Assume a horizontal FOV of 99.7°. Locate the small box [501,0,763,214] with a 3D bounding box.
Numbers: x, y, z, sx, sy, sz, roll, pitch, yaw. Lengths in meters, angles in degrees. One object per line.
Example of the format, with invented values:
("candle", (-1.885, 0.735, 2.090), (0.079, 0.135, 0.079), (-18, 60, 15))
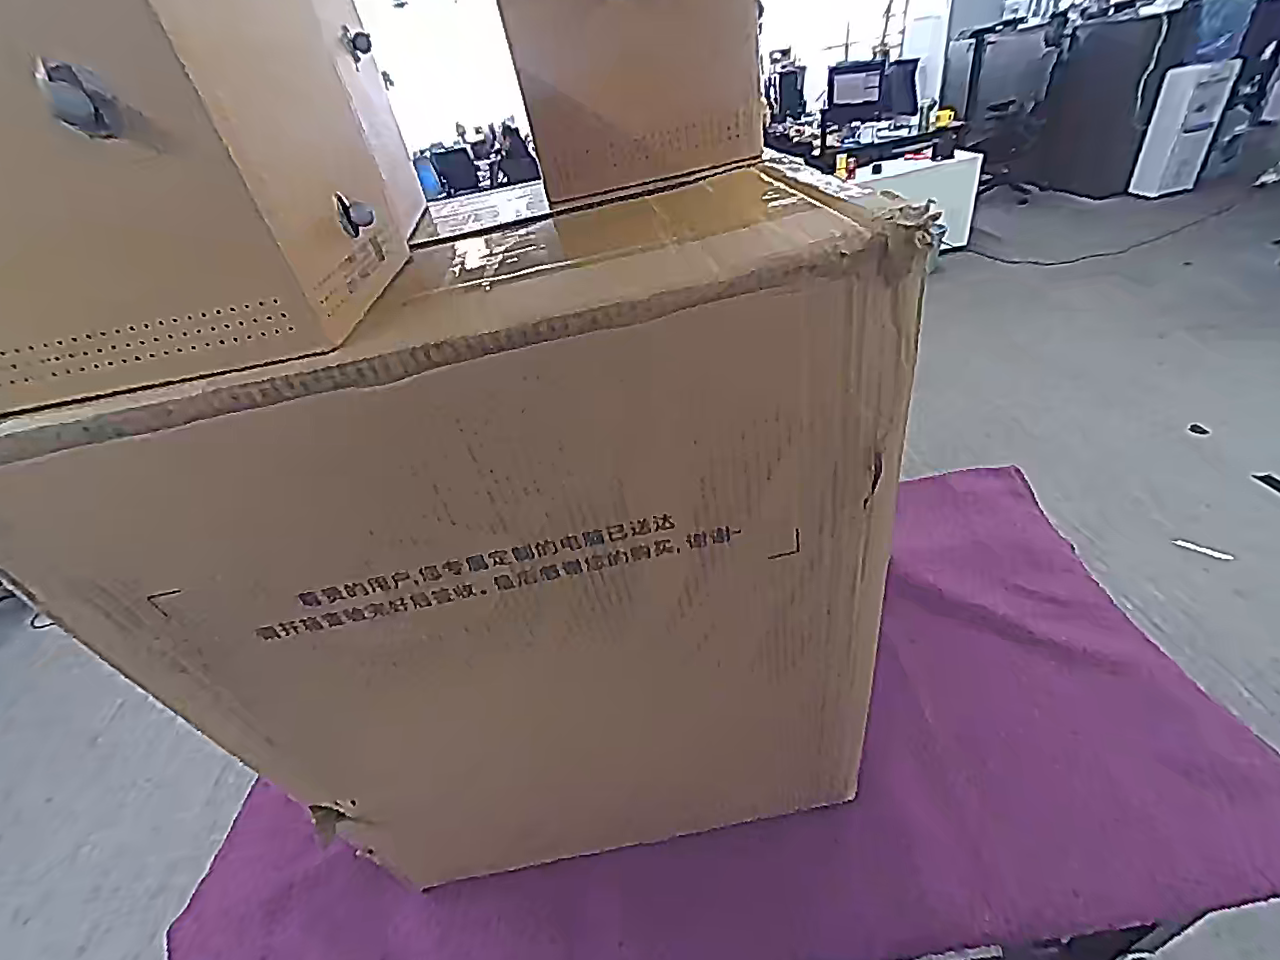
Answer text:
("small box", (0.002, -0.339, 0.445), (0.179, 0.176, 0.168), (-10, 37, 6))
